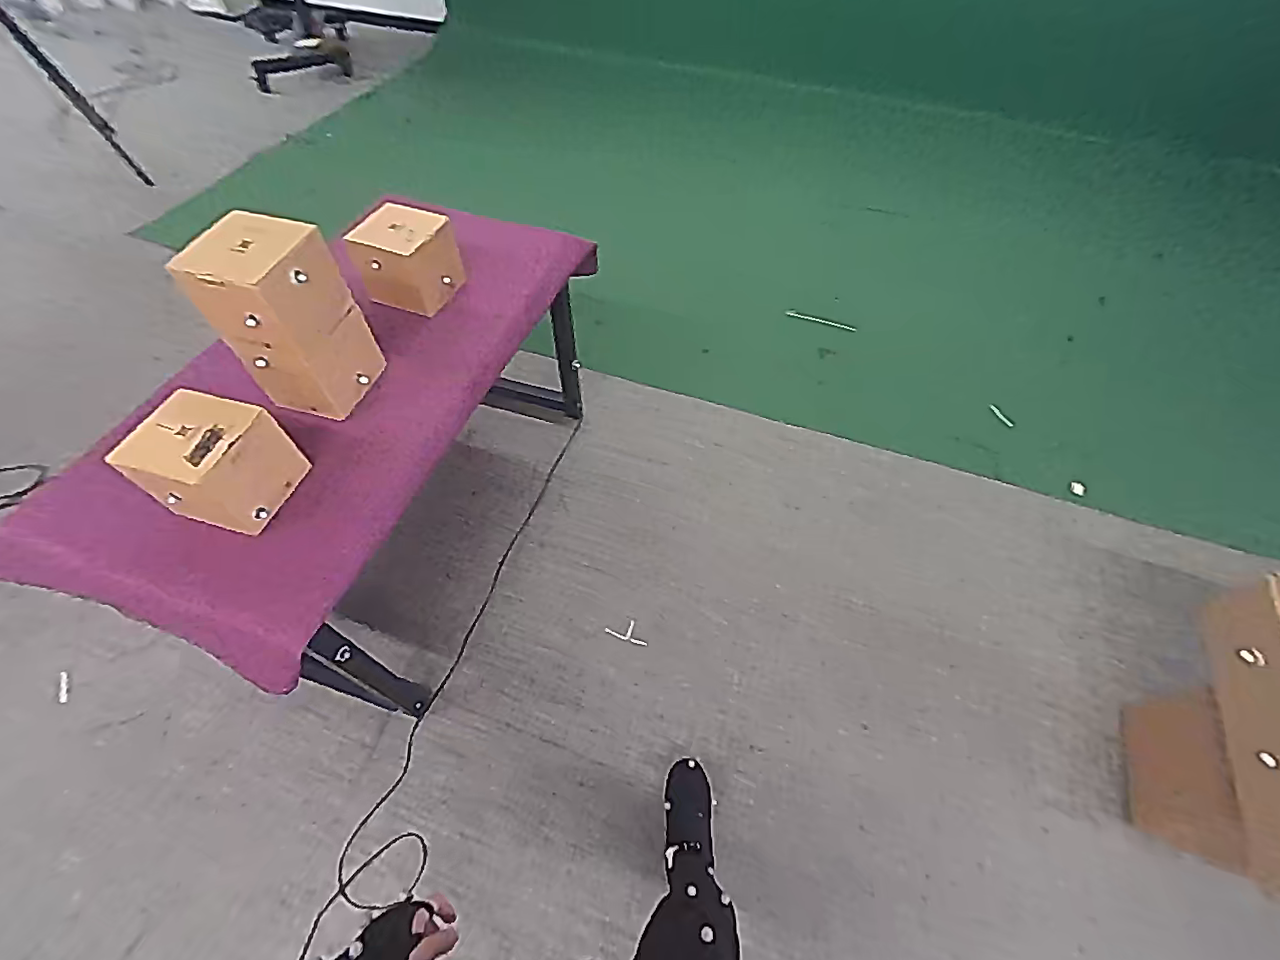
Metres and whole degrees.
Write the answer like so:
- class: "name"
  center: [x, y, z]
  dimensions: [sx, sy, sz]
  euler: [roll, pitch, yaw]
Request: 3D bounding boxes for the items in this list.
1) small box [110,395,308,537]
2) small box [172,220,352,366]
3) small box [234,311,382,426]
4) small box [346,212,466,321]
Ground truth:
- class: "small box"
  center: [-0.736, -0.019, 0.951]
  dimensions: [0.179, 0.176, 0.168]
  euler: [13, 55, 9]
- class: "small box"
  center: [-0.660, -0.333, 0.974]
  dimensions: [0.168, 0.176, 0.179]
  euler: [14, 56, 7]
- class: "small box"
  center: [-0.662, -0.241, 1.110]
  dimensions: [0.168, 0.176, 0.179]
  euler: [13, 55, 9]
- class: "small box"
  center: [-0.551, -0.509, 1.299]
  dimensions: [0.179, 0.176, 0.168]
  euler: [19, 57, 12]
